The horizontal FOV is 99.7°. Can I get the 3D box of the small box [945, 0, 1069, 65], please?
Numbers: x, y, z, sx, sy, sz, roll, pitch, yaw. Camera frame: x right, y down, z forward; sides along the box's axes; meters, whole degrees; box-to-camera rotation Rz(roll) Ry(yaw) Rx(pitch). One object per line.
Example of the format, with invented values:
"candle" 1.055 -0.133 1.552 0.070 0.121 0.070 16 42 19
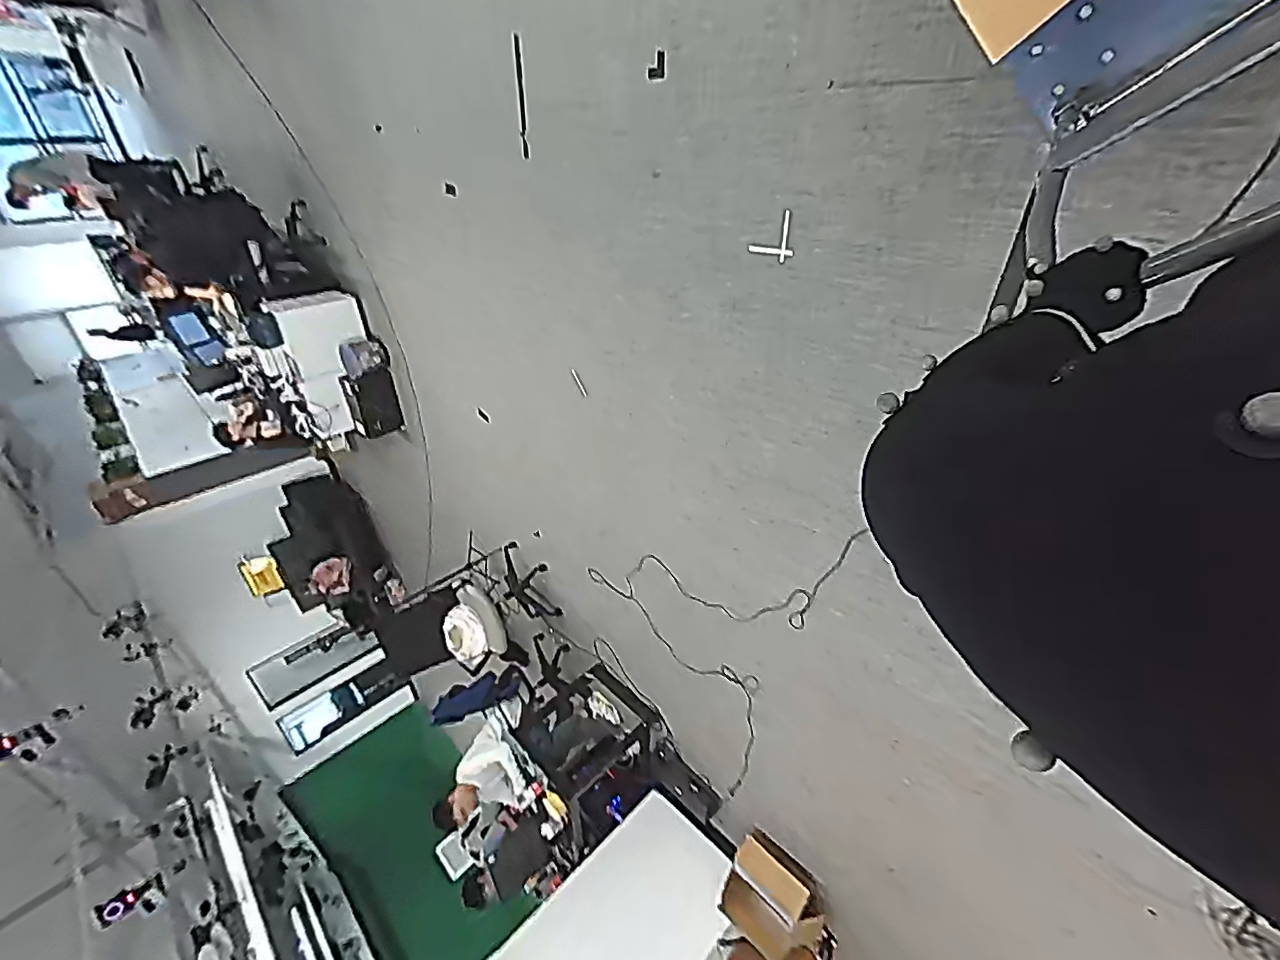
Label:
"small box" 0.588 -0.785 0.819 0.168 0.176 0.179 49 144 -10
